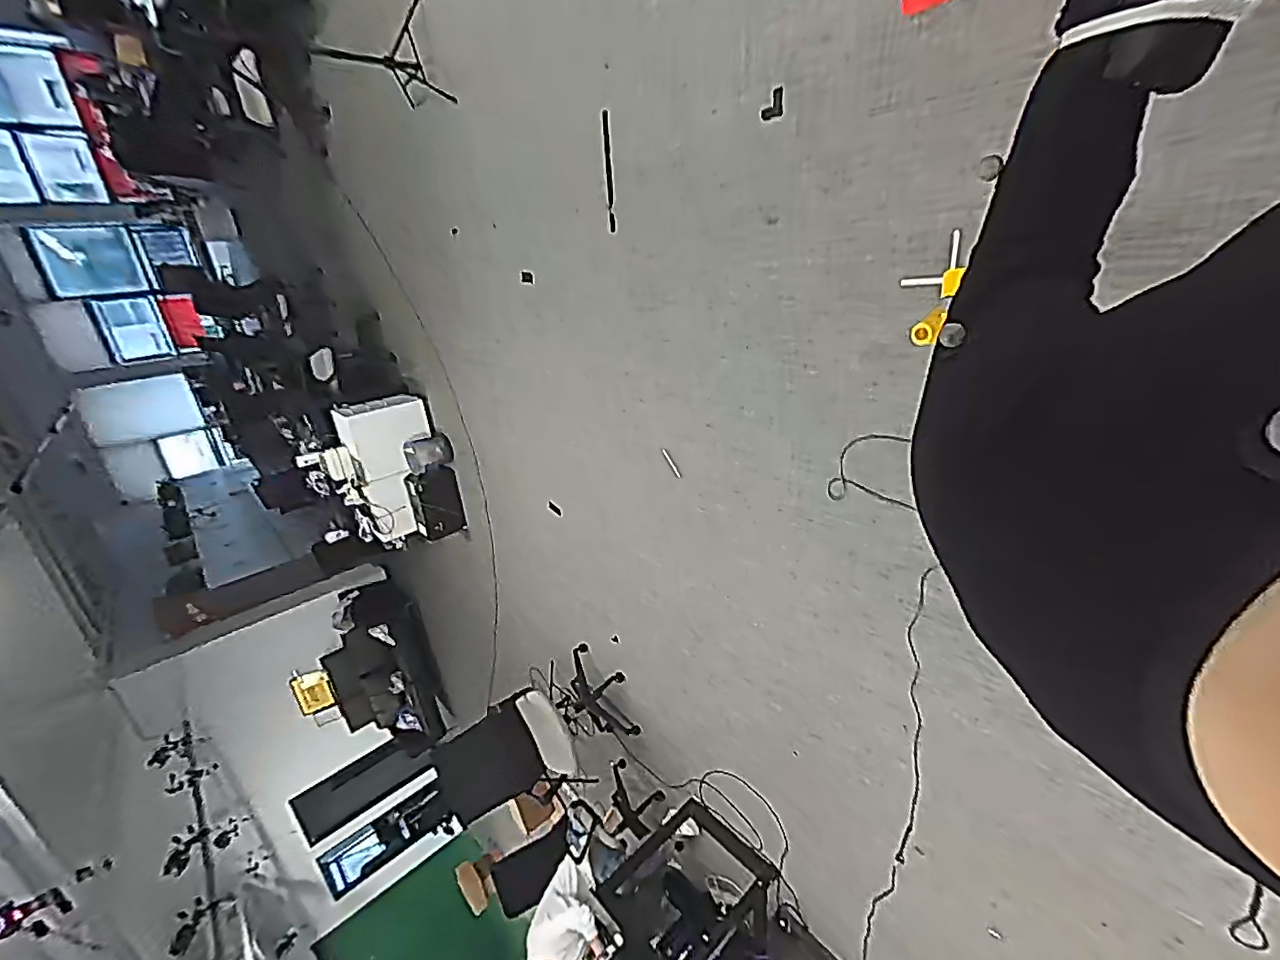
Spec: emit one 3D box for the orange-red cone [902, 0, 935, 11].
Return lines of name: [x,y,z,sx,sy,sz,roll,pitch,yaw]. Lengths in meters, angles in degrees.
orange-red cone: [0.509,-1.052,1.001,0.198,0.360,0.199,17,123,47]
